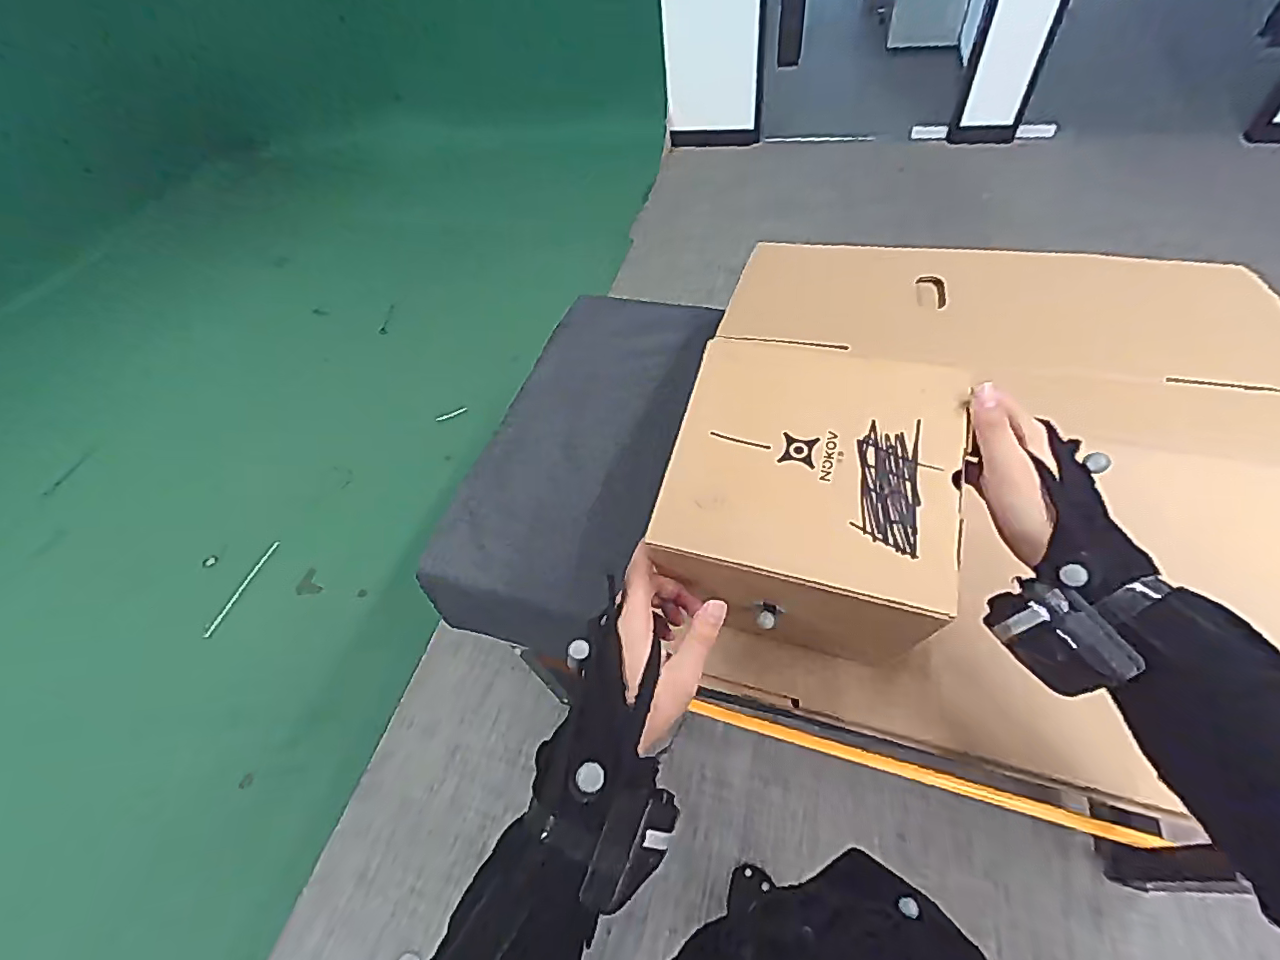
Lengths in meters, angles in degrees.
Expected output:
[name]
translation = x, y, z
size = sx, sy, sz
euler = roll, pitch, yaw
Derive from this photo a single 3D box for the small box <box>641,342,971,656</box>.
[small box]
translation = 0.120, 0.023, 0.410
size = 0.179, 0.176, 0.168
euler = 12, 66, 18
